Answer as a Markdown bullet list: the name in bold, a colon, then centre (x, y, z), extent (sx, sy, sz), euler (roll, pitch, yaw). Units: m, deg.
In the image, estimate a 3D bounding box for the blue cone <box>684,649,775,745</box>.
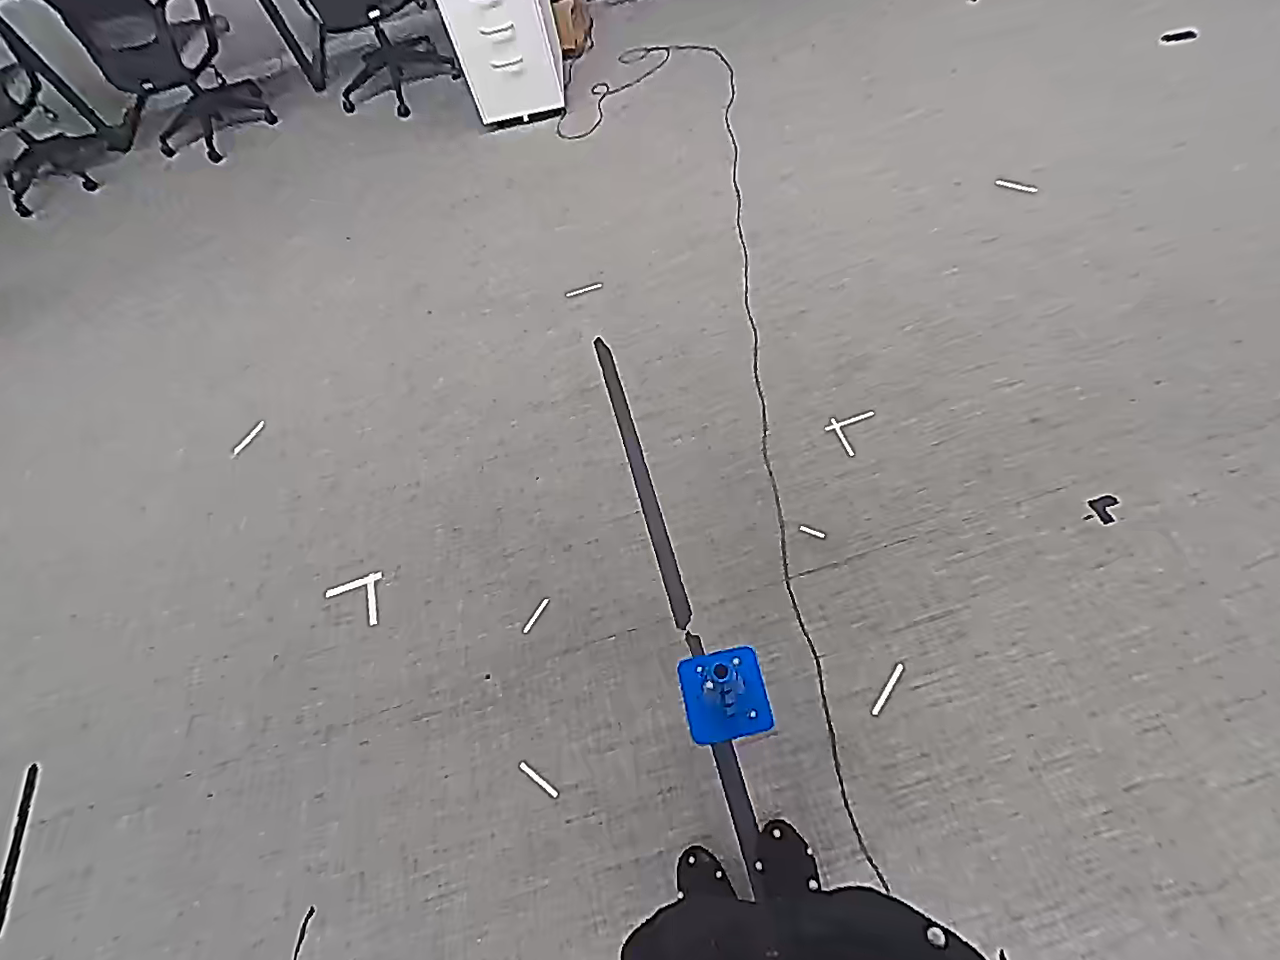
- **blue cone**: centre (0.186, 0.436, 1.153), extent (0.193, 0.380, 0.192), euler (-15, 61, 1)
